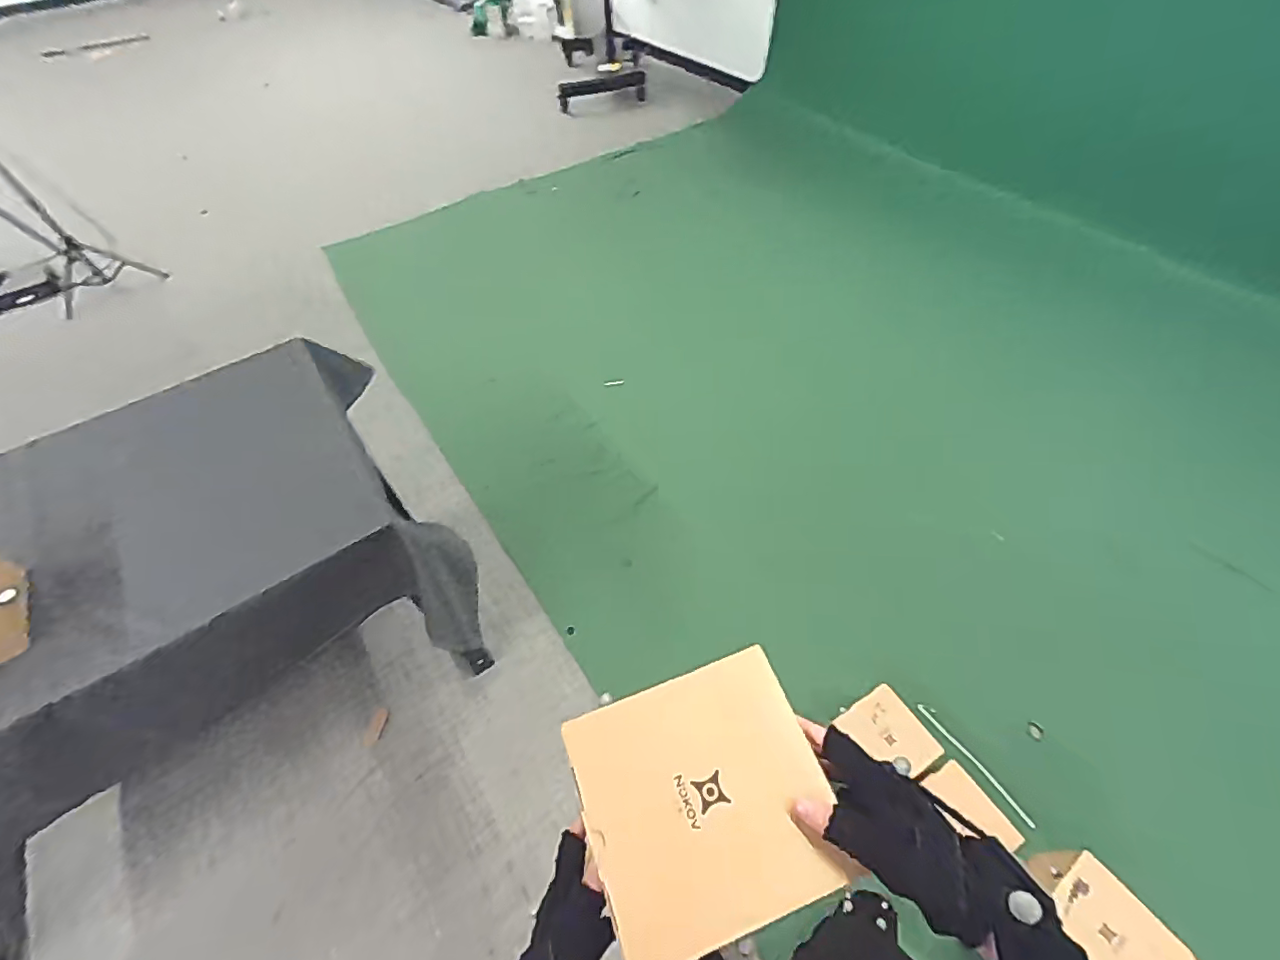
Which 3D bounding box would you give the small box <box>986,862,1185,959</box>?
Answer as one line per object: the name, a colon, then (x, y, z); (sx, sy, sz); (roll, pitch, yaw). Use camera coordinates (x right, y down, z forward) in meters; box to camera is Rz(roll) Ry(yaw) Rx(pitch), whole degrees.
small box: (0.741, 0.781, 0.909); (0.168, 0.176, 0.179); (-29, 58, -19)
